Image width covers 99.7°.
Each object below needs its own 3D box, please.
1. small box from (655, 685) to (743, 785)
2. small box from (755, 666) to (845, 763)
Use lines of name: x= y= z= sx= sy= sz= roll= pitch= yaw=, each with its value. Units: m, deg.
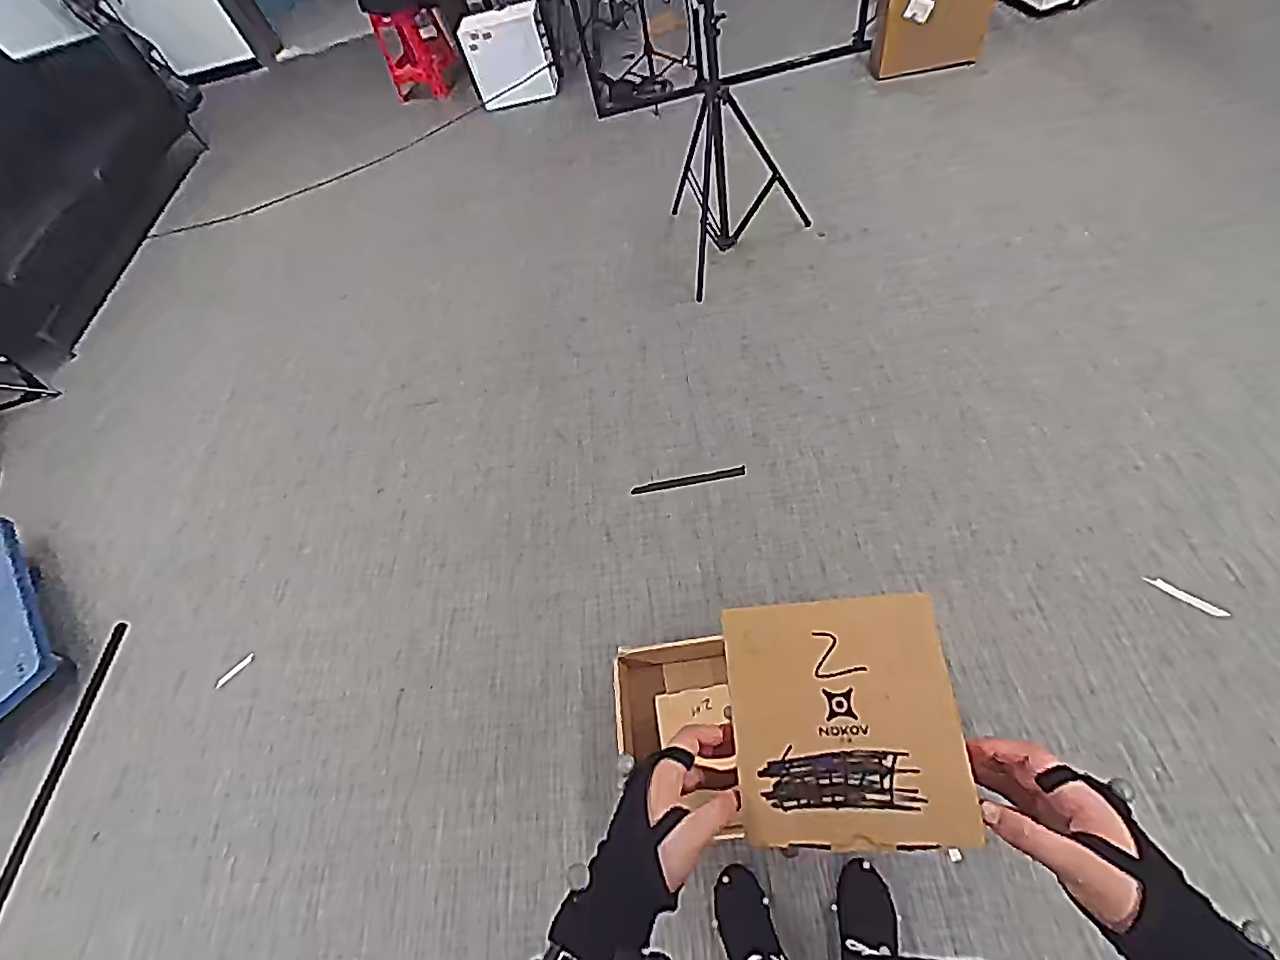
small box: x=0.134 y=0.576 z=1.213 sx=0.168 sy=0.176 sz=0.179 roll=-11 pitch=58 yaw=4
small box: x=0.346 y=0.523 z=1.200 sx=0.168 sy=0.176 sz=0.179 roll=-6 pitch=59 yaw=10
